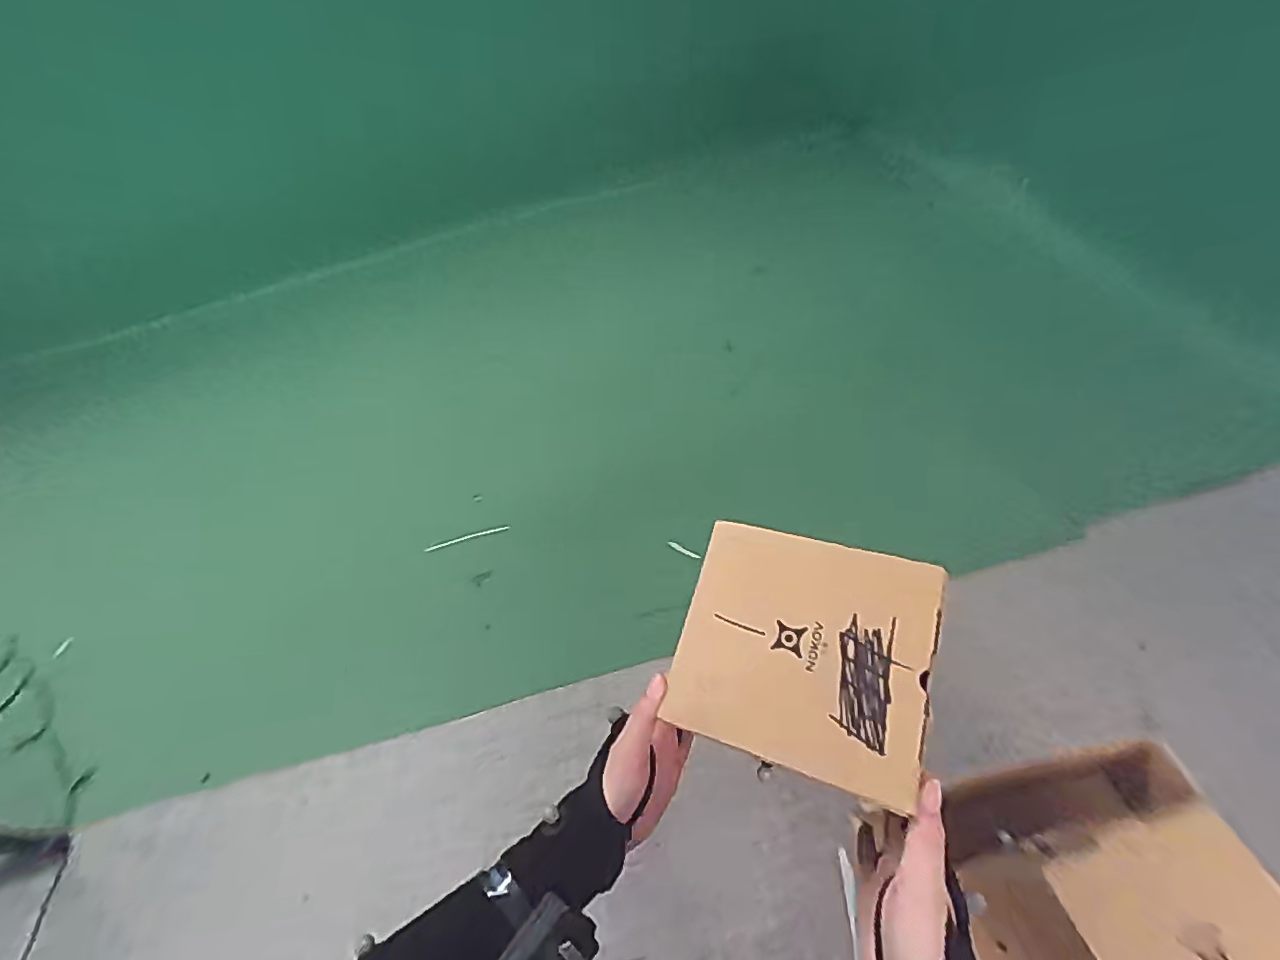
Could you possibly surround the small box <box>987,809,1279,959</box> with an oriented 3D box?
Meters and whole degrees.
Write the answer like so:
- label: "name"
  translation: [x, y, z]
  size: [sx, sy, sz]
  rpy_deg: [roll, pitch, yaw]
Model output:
- label: "small box"
  translation: [0.458, 0.425, 0.481]
  size: [0.168, 0.176, 0.179]
  rpy_deg: [-19, 52, -3]
